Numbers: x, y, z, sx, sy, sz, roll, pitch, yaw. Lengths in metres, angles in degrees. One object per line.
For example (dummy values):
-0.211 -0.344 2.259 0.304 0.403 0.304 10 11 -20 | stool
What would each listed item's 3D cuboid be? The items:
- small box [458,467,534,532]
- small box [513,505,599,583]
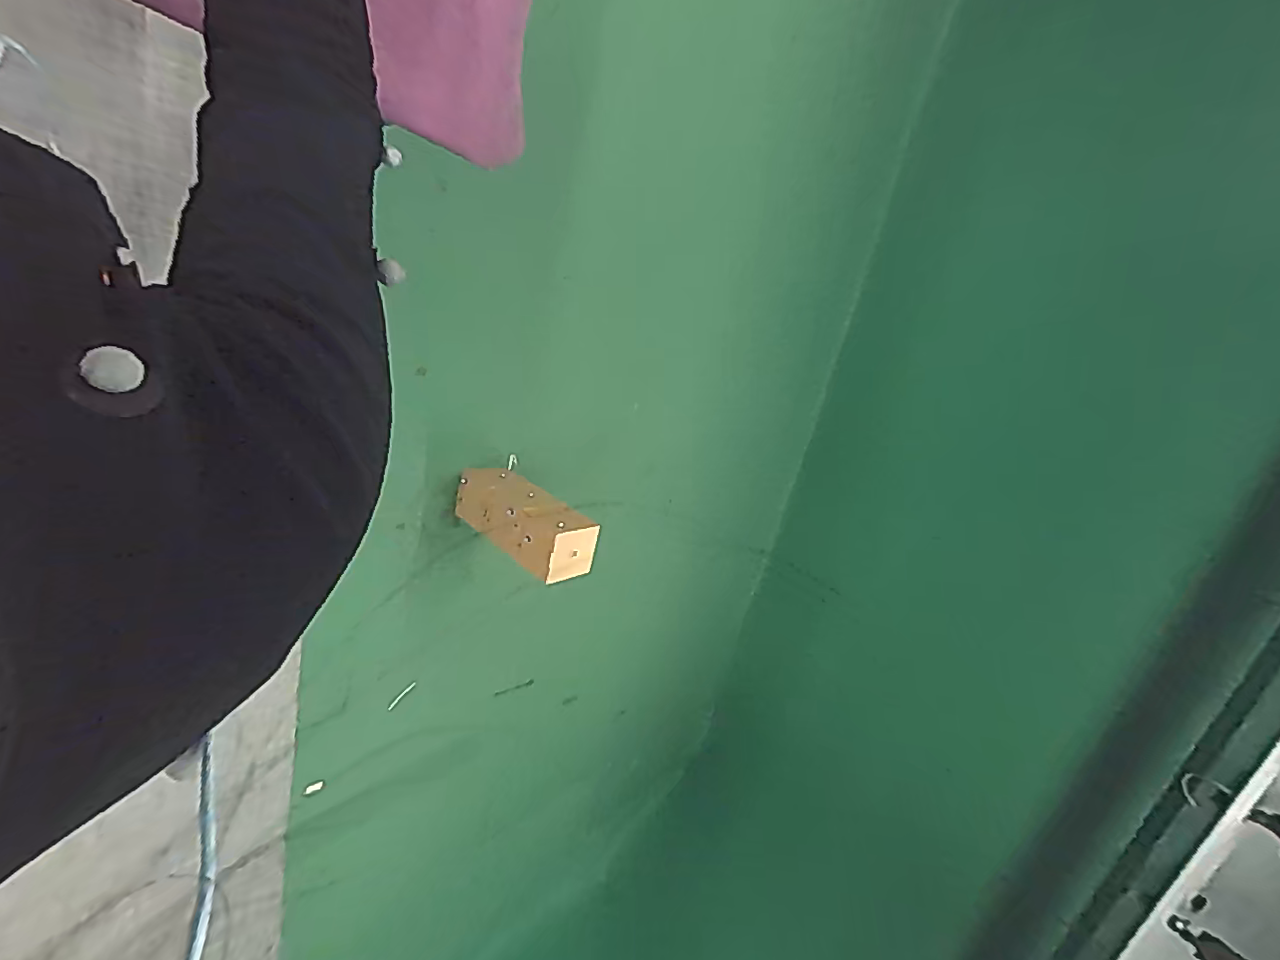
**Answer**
-0.493 0.060 1.832 0.179 0.176 0.168 -4 115 -50 | small box
-0.256 0.185 1.644 0.179 0.176 0.168 -7 118 -49 | small box
